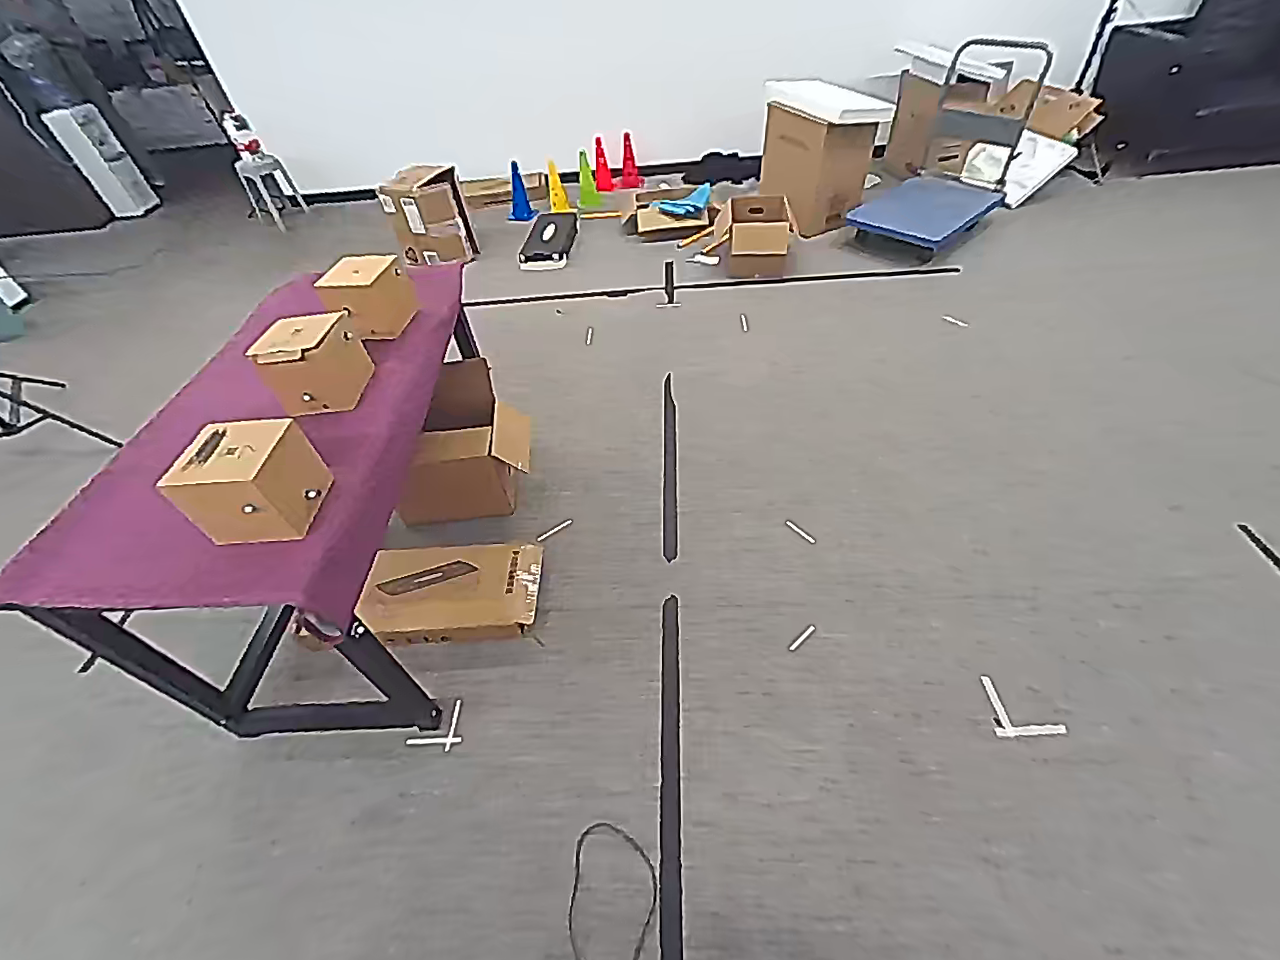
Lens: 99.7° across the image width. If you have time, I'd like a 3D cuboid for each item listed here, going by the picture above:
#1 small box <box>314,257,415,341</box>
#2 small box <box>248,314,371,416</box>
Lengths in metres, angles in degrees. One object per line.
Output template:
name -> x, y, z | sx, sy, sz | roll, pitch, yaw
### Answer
small box -> -0.762, -0.505, 1.521 | 0.168, 0.176, 0.179 | 1, 46, 7
small box -> -0.780, -0.275, 1.302 | 0.168, 0.176, 0.179 | -6, 46, 4
